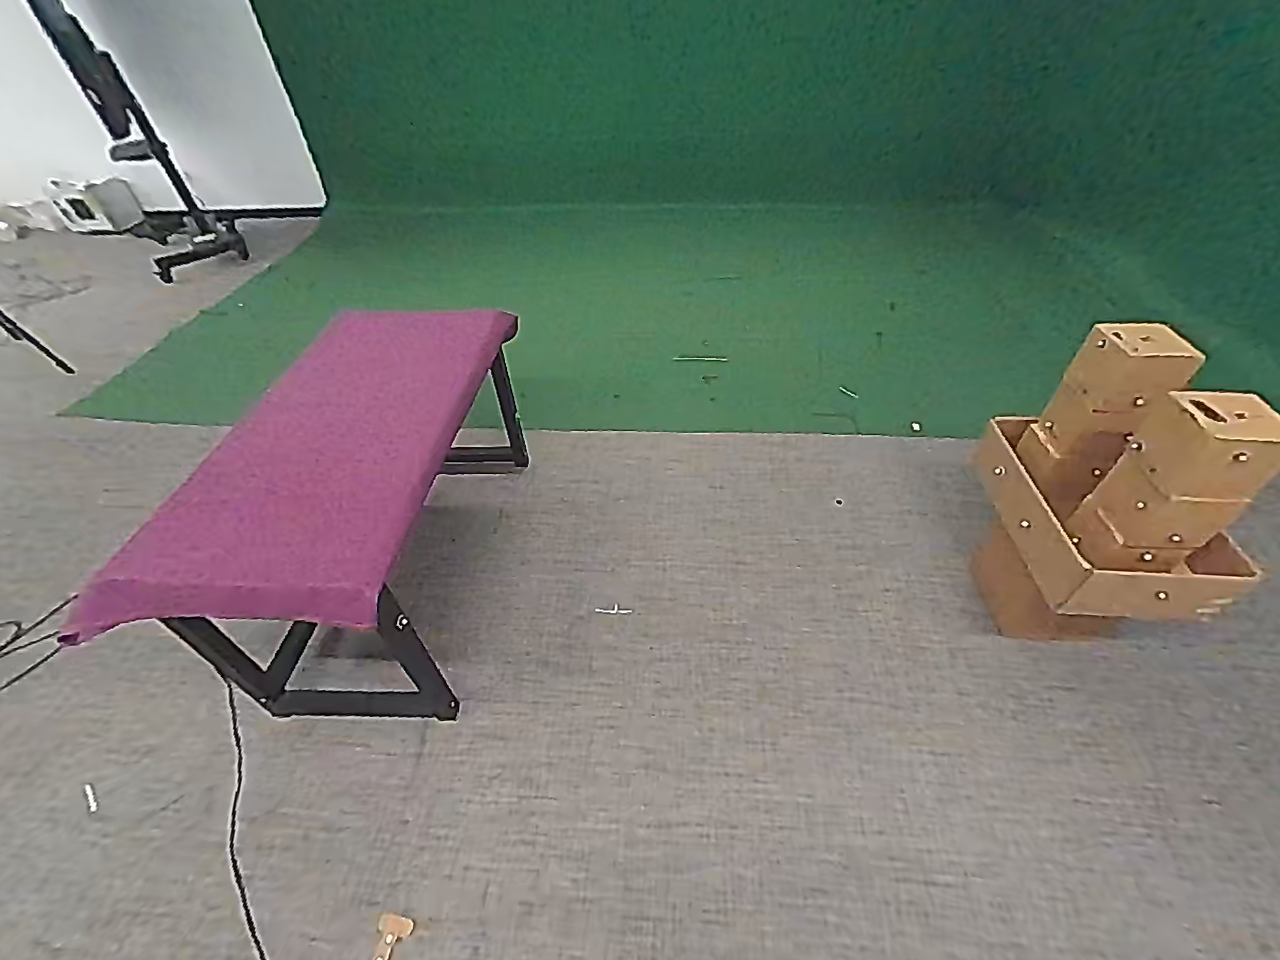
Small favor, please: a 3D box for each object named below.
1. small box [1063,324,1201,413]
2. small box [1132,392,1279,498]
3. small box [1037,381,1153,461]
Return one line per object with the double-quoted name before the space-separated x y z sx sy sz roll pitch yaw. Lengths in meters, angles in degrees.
"small box" 1.272 -0.289 1.415 0.179 0.176 0.168 2 43 3
"small box" 1.246 -0.076 1.191 0.179 0.176 0.168 4 45 6
"small box" 1.279 -0.170 1.528 0.179 0.176 0.168 4 43 7
